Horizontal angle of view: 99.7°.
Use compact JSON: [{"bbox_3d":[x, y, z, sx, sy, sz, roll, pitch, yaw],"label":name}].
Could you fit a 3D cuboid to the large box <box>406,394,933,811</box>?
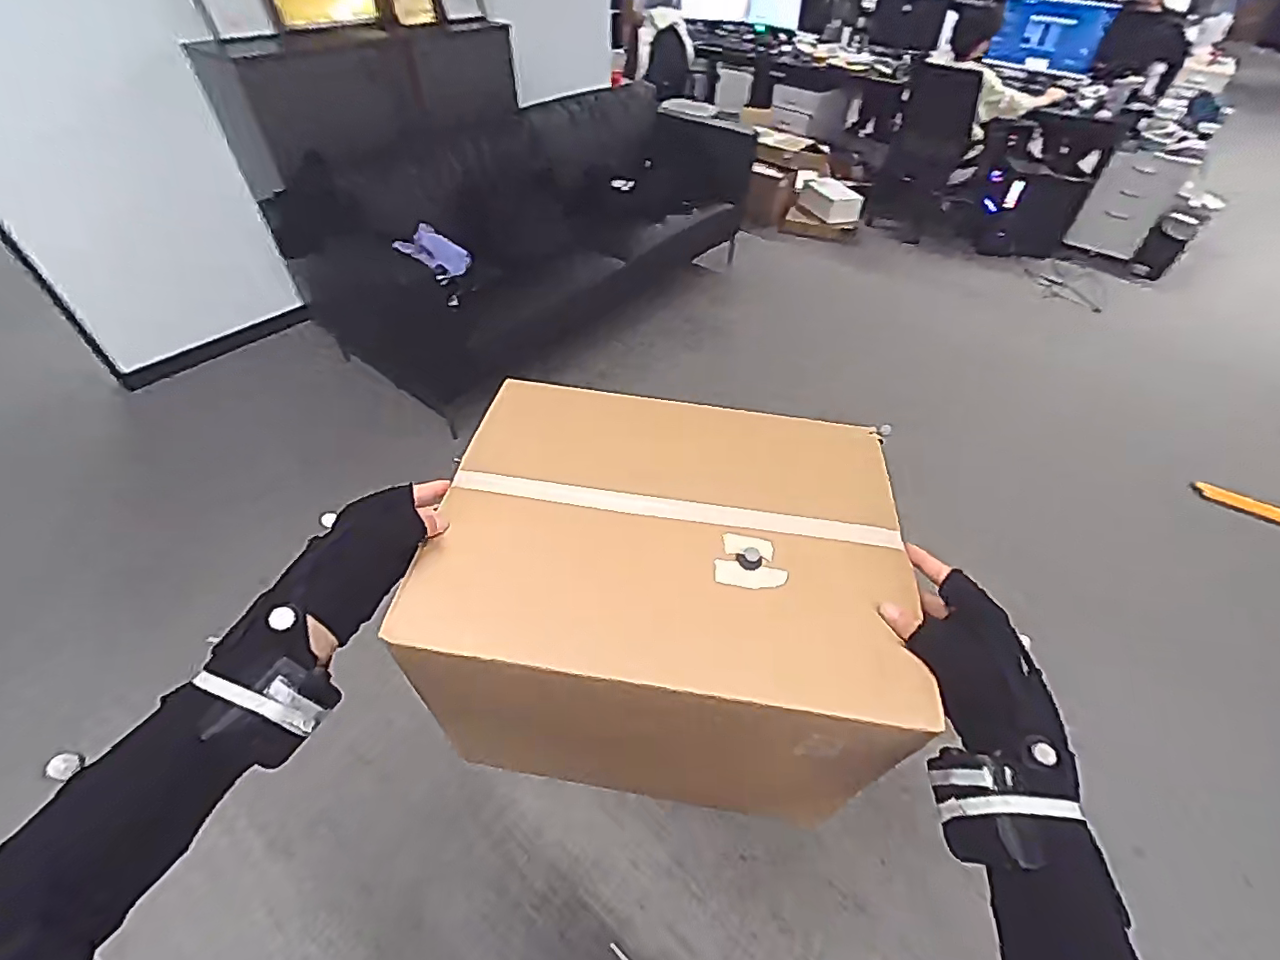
[{"bbox_3d":[0.023,0.139,0.606,0.408,0.320,0.320,8,48,2],"label":"large box"}]
